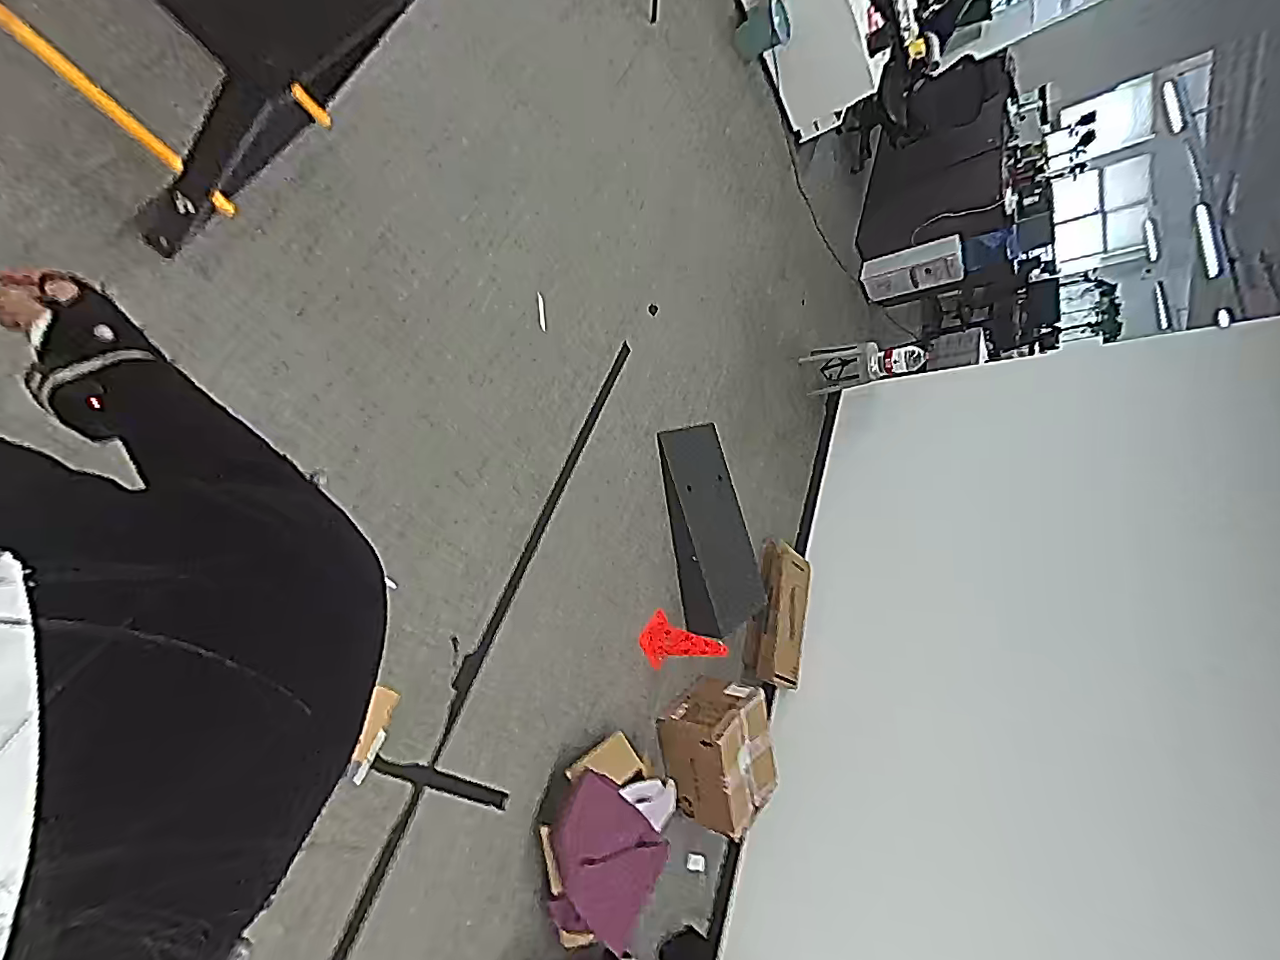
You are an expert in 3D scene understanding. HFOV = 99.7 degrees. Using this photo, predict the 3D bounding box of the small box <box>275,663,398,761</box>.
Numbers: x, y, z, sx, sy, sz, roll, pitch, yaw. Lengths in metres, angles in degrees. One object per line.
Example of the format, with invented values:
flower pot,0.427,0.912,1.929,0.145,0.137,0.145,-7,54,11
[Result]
small box,-0.748,0.566,1.334,0.179,0.176,0.168,45,54,-37
